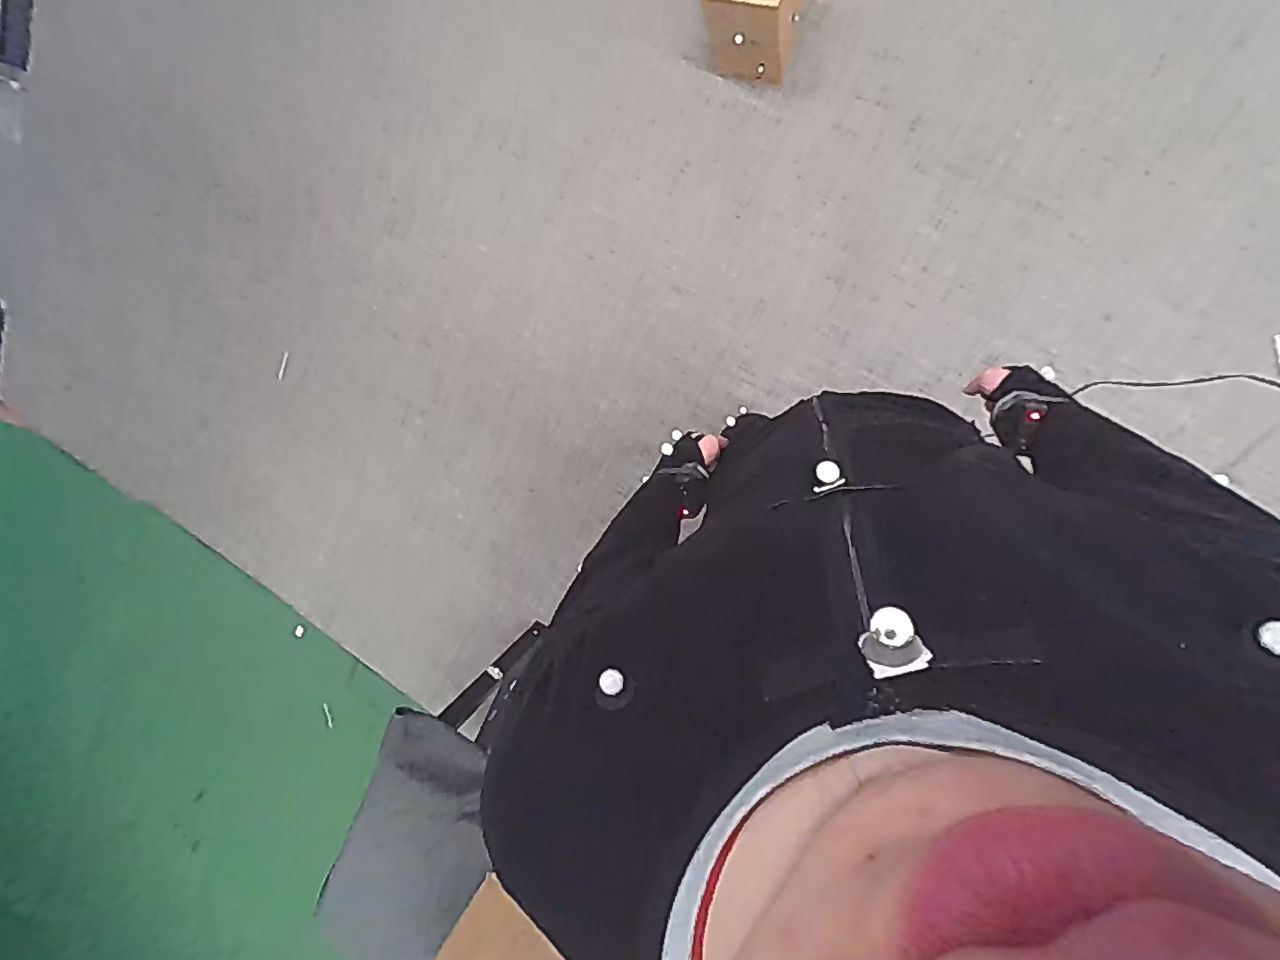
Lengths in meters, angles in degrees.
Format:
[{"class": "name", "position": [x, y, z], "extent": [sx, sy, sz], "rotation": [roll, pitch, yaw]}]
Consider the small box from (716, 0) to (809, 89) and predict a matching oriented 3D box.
[{"class": "small box", "position": [0.291, -1.055, 1.263], "extent": [0.168, 0.176, 0.179], "rotation": [18, 104, 12]}]

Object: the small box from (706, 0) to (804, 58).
[{"class": "small box", "position": [0.248, -1.018, 1.108], "extent": [0.168, 0.176, 0.179], "rotation": [19, 107, 13]}]
